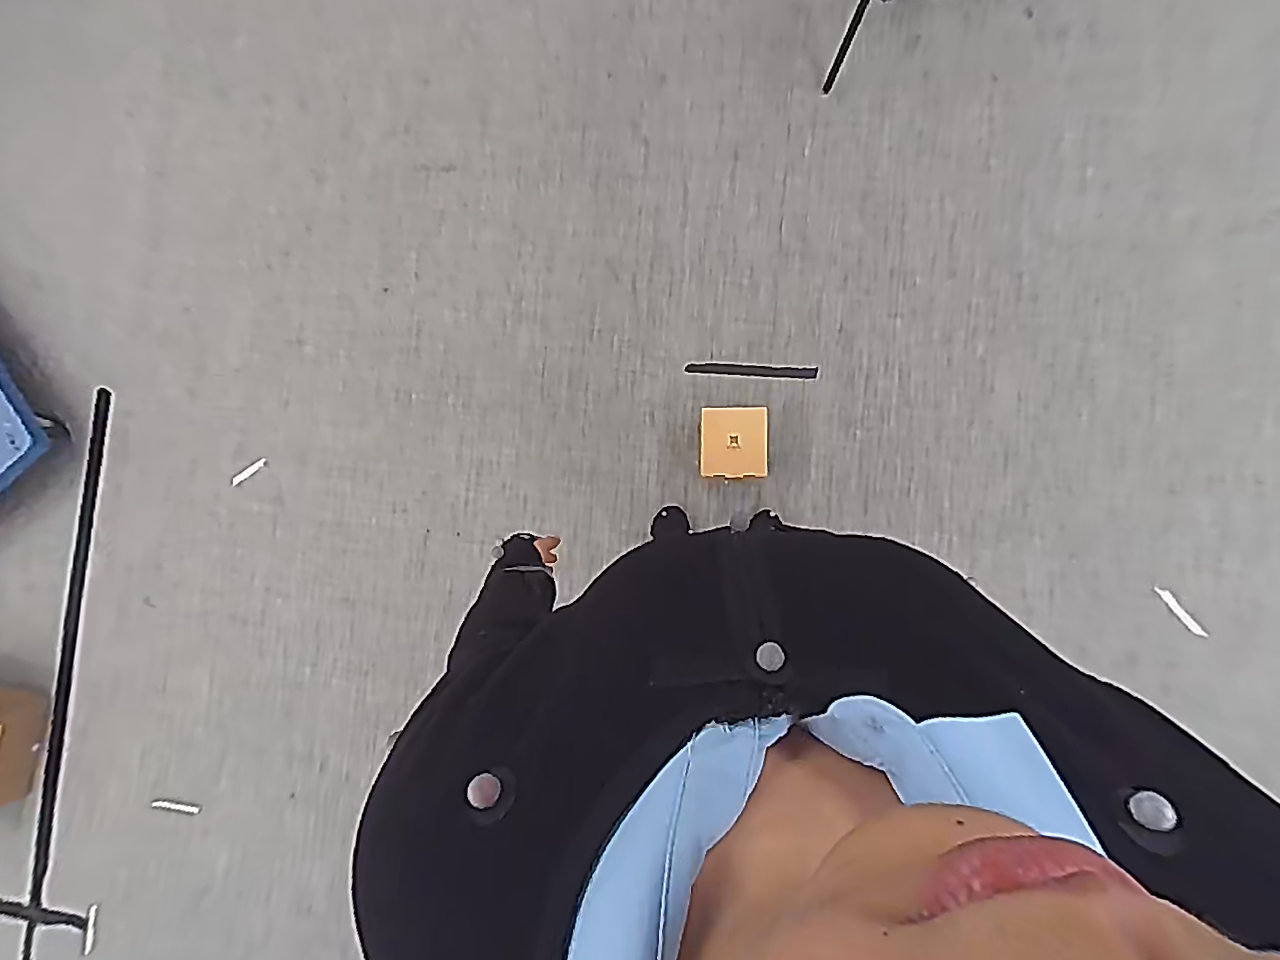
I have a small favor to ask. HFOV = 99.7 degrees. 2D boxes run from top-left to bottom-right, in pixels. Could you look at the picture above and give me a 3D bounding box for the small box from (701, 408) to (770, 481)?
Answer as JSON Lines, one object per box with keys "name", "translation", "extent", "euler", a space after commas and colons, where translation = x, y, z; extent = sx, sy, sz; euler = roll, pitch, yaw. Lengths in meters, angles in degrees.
{"name": "small box", "translation": [0.246, -0.089, 1.421], "extent": [0.168, 0.176, 0.179], "euler": [0, 88, 6]}
